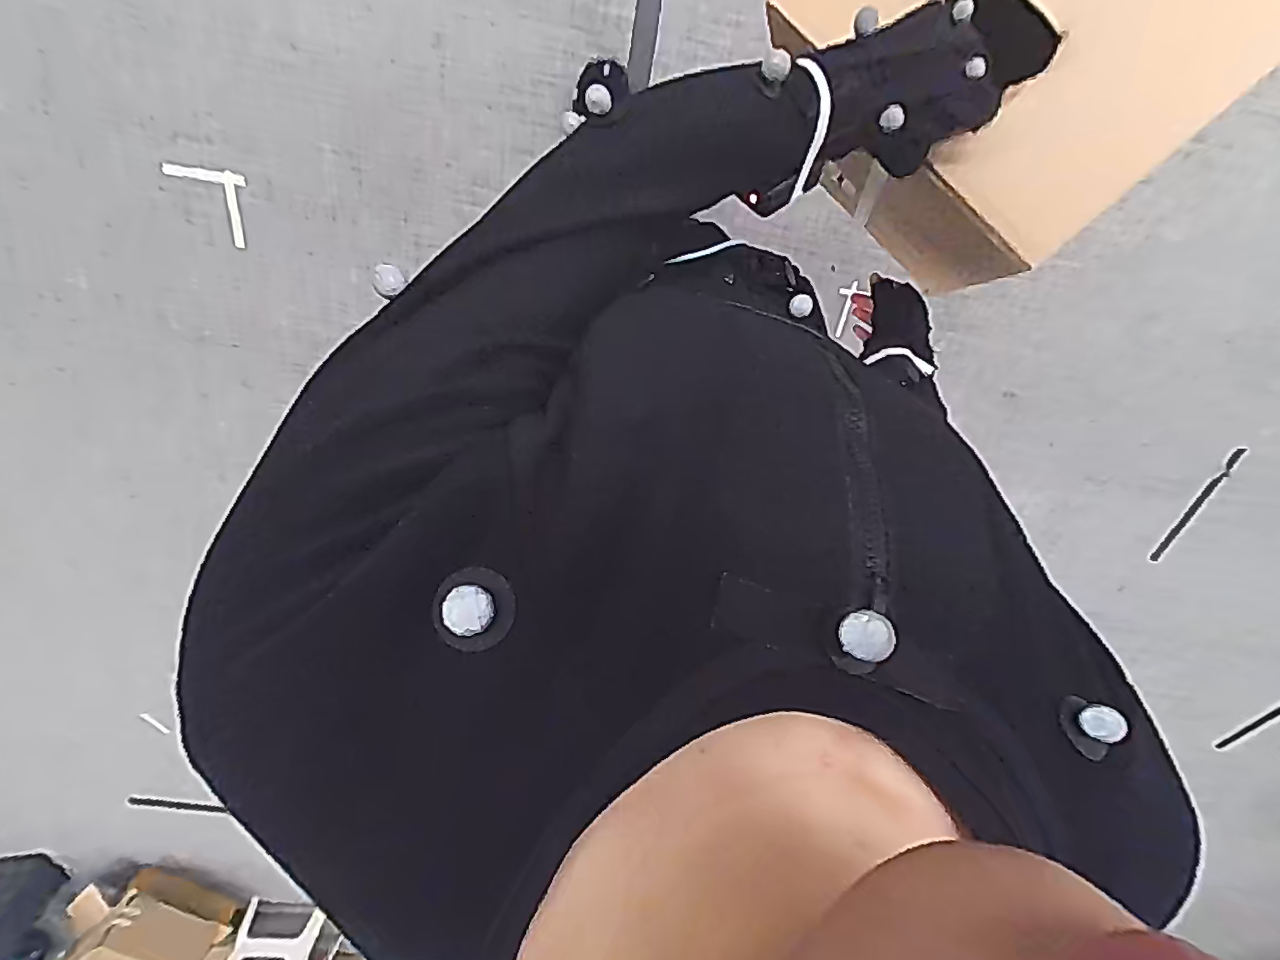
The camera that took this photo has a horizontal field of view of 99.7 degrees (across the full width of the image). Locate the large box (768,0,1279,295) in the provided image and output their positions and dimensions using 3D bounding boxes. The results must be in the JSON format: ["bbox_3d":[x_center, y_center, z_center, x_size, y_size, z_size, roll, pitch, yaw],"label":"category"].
[{"bbox_3d":[0.373,-0.428,0.566,0.320,0.408,0.320,47,115,1],"label":"large box"}]
